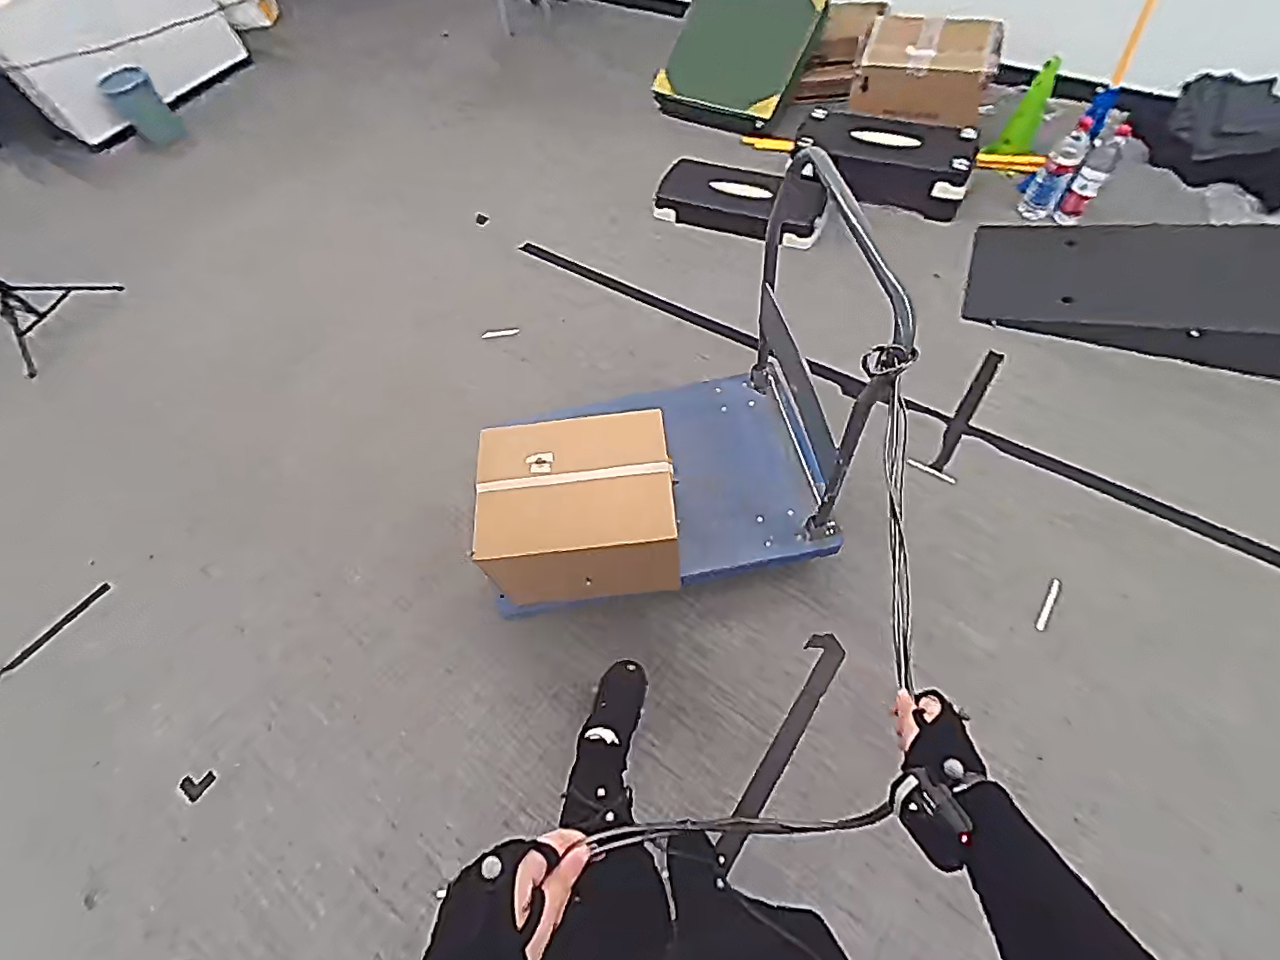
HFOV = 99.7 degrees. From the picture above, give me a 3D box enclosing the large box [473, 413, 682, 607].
[{"bbox_3d":[-0.125,0.082,1.235,0.408,0.320,0.320,-7,60,2],"label":"large box"}]
